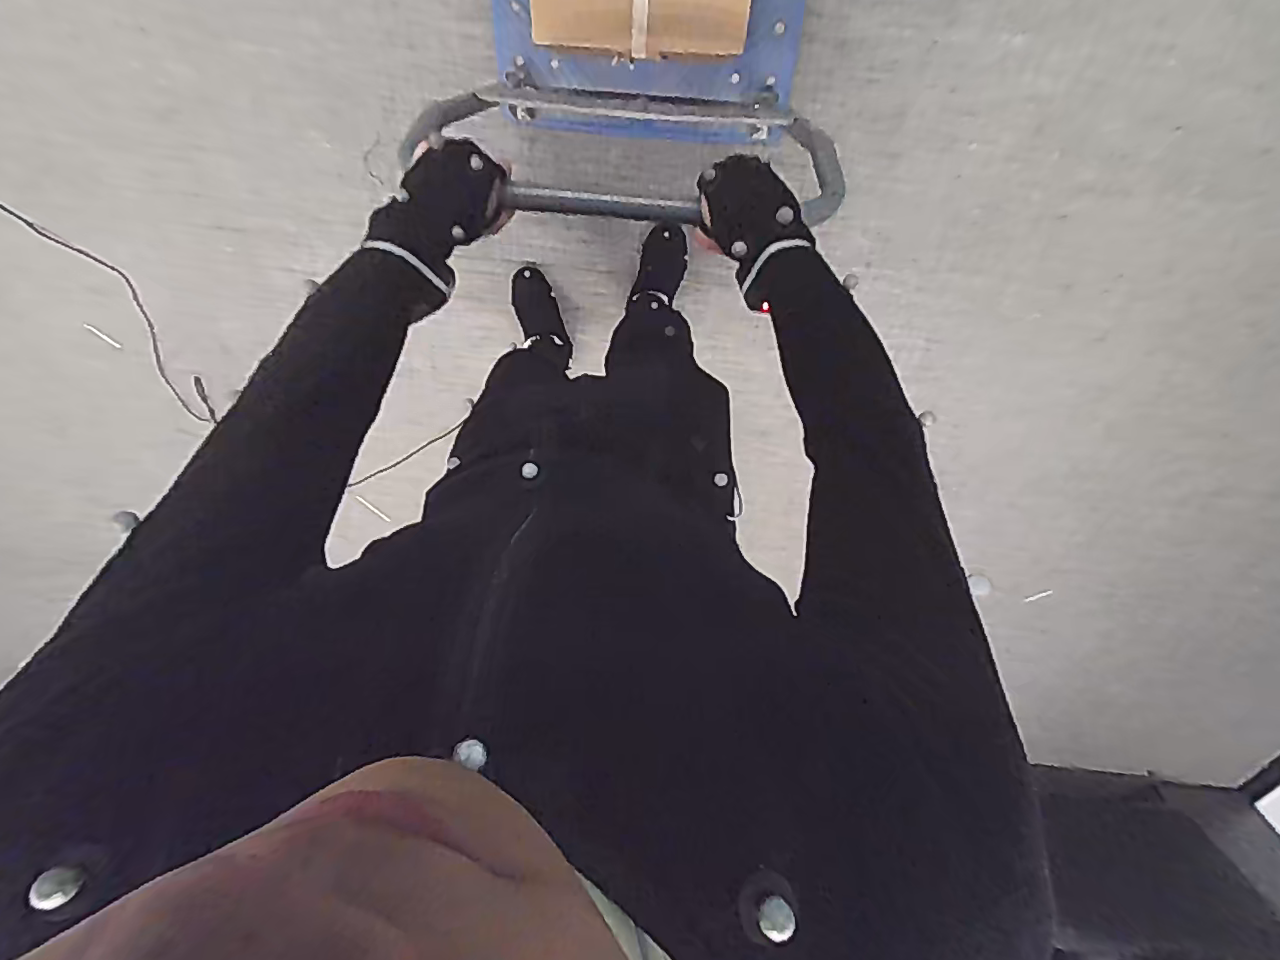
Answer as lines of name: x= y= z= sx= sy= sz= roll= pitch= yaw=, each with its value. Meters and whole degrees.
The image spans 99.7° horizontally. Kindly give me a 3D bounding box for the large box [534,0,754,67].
large box: x=0.017 y=-0.873 z=0.802 sx=0.320 sy=0.320 sz=0.408 roll=3 pitch=125 yaw=1
